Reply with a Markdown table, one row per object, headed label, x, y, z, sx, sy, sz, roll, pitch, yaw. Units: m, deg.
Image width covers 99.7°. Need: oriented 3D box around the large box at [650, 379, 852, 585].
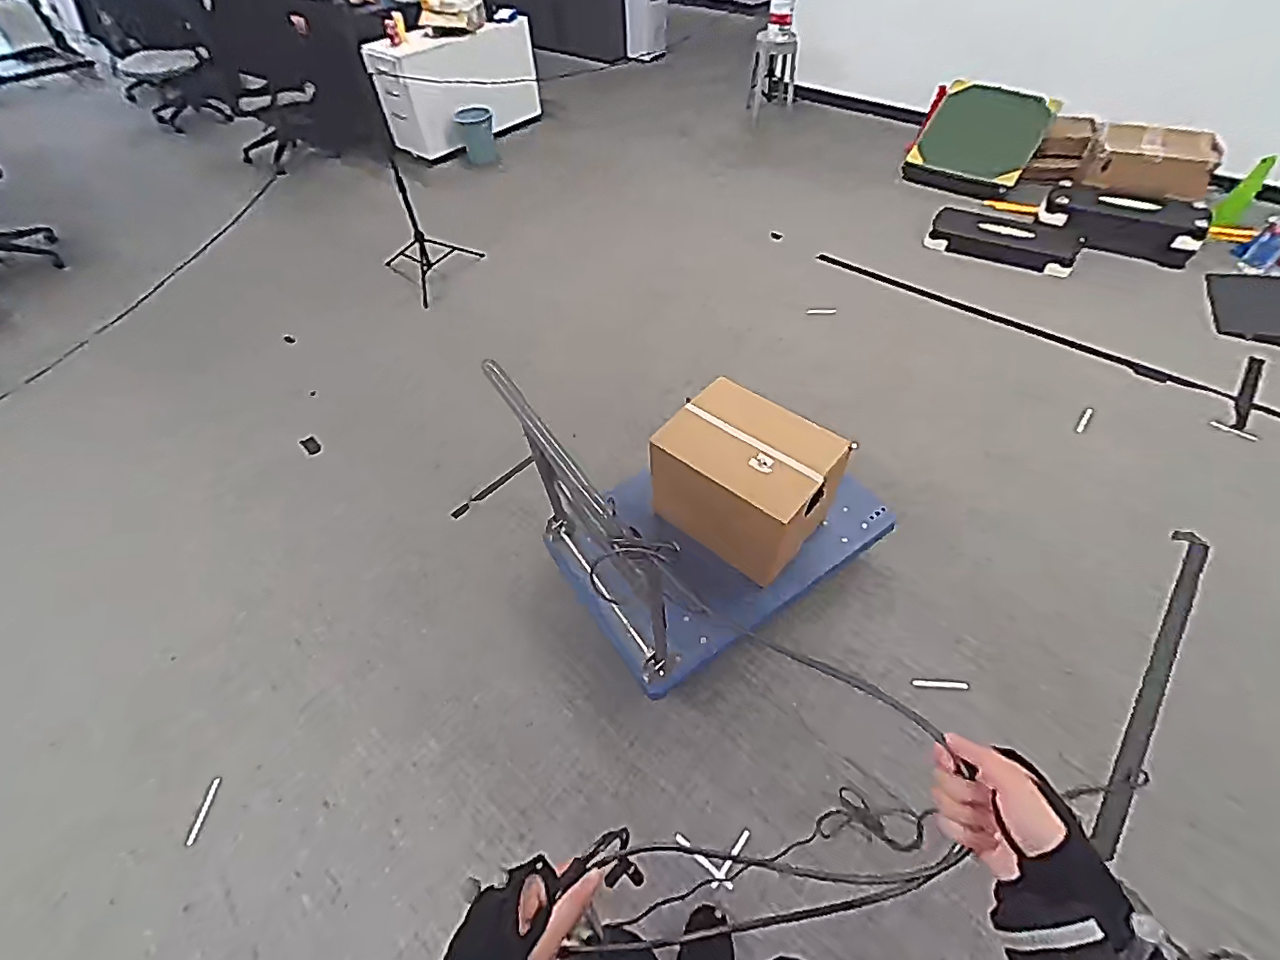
| label | x | y | z | sx | sy | sz | roll | pitch | yaw |
| --- | --- | --- | --- | --- | --- | --- | --- | --- | --- |
| large box | 0.272 | 0.001 | 1.447 | 0.408 | 0.320 | 0.320 | 34 | 61 | 25 |
